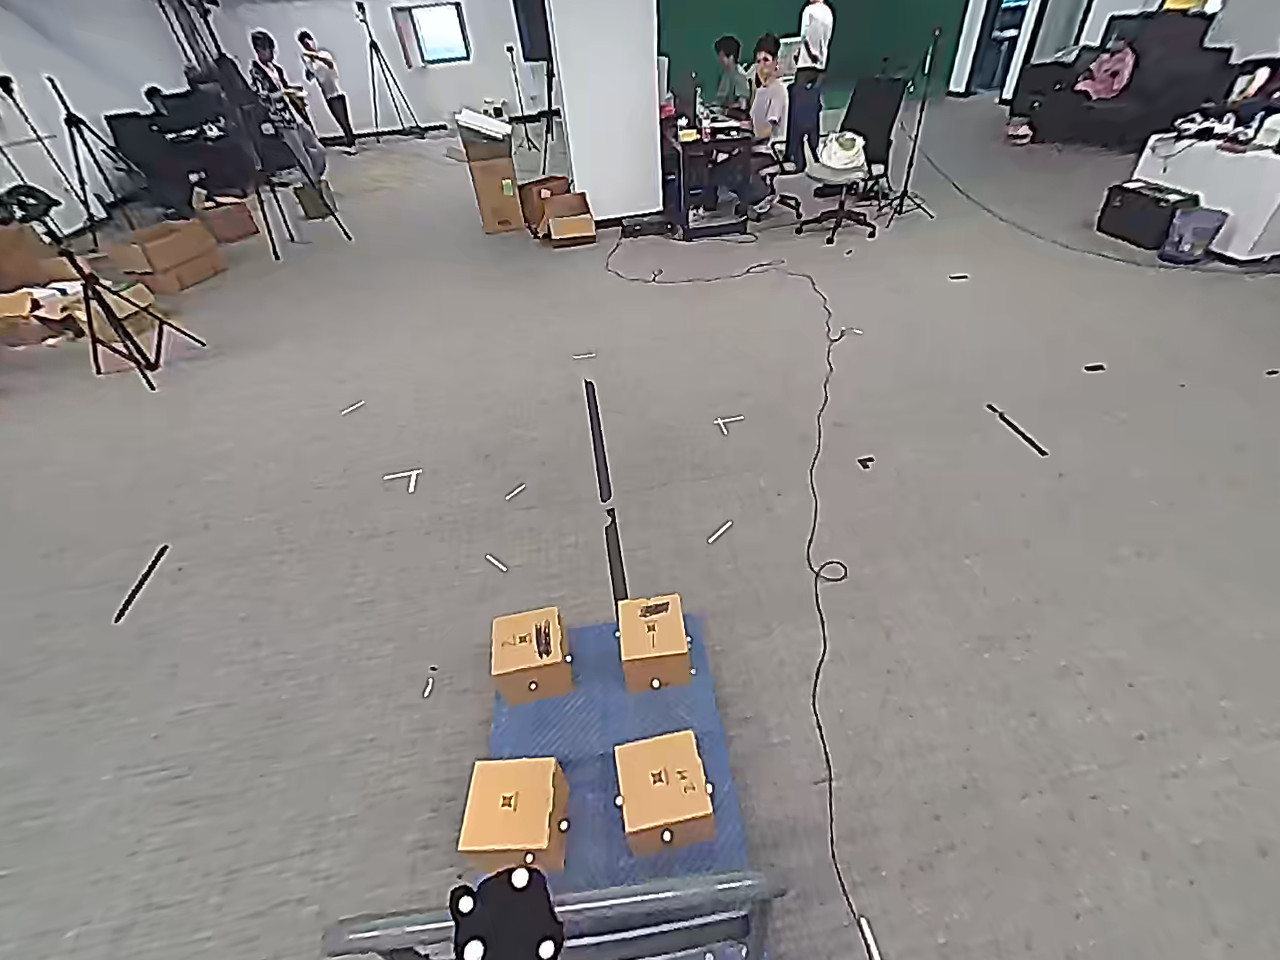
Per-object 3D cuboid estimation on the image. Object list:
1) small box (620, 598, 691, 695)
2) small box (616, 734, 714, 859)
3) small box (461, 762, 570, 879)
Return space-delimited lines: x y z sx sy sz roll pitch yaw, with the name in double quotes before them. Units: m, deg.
"small box" 0.040 0.437 1.419 0.168 0.176 0.179 -7 42 0
"small box" 0.054 0.672 1.145 0.179 0.176 0.168 -10 41 -4
"small box" -0.252 0.716 1.135 0.179 0.176 0.168 -4 40 1
